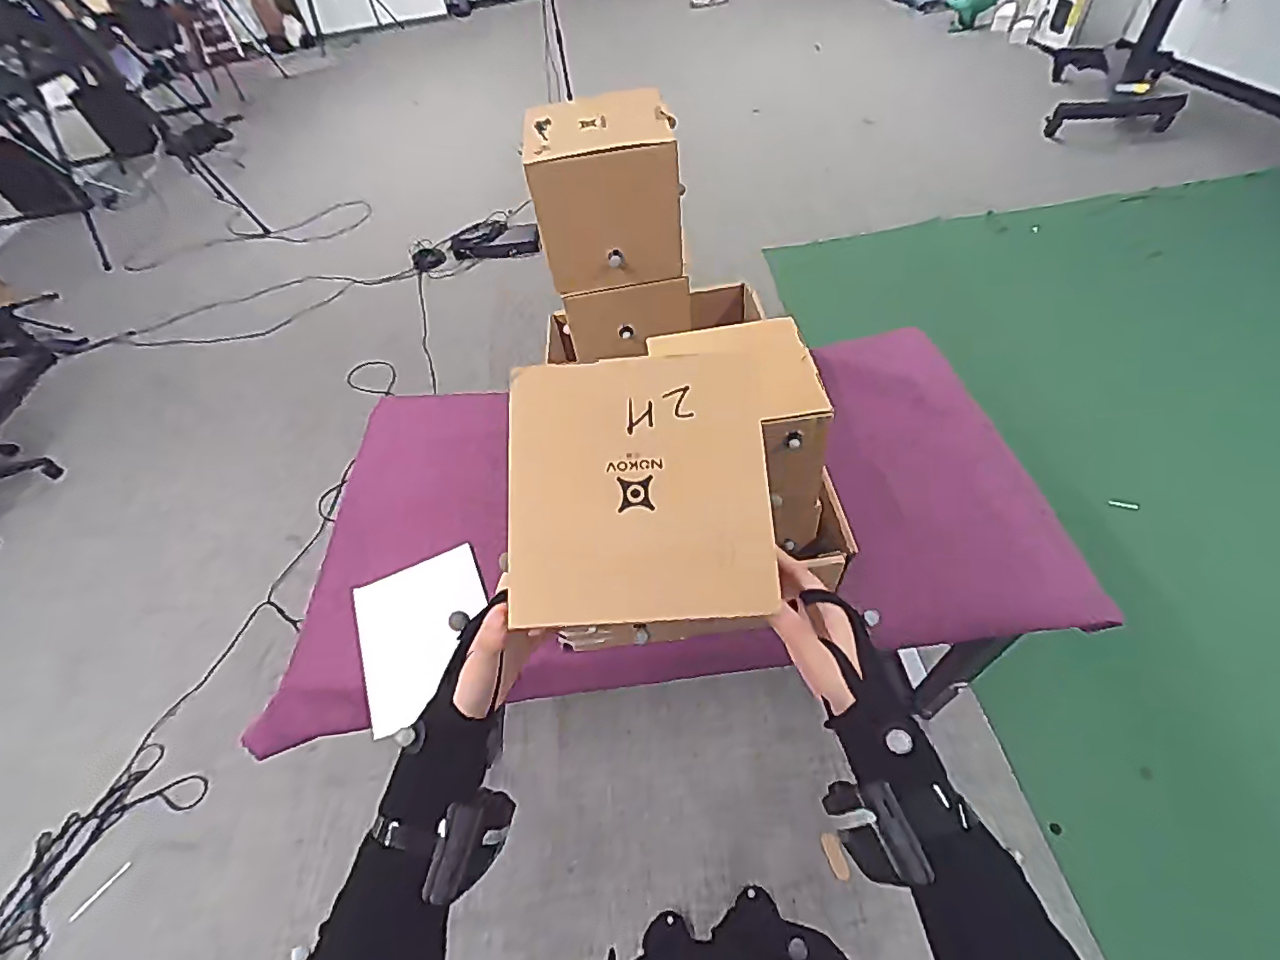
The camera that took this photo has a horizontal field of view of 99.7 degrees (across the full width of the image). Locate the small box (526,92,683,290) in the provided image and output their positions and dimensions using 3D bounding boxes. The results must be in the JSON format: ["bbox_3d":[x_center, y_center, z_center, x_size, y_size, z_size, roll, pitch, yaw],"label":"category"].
[{"bbox_3d":[-0.041,-0.372,0.707,0.179,0.176,0.168,-7,51,0],"label":"small box"}]

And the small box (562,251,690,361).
[{"bbox_3d":[-0.021,-0.270,0.833,0.179,0.176,0.168,-10,52,0],"label":"small box"}]

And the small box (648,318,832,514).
[{"bbox_3d":[0.110,-0.066,0.646,0.179,0.176,0.168,-7,49,2],"label":"small box"}]

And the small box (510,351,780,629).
[{"bbox_3d":[0.004,0.021,0.419,0.168,0.176,0.179,-3,75,1],"label":"small box"}]
